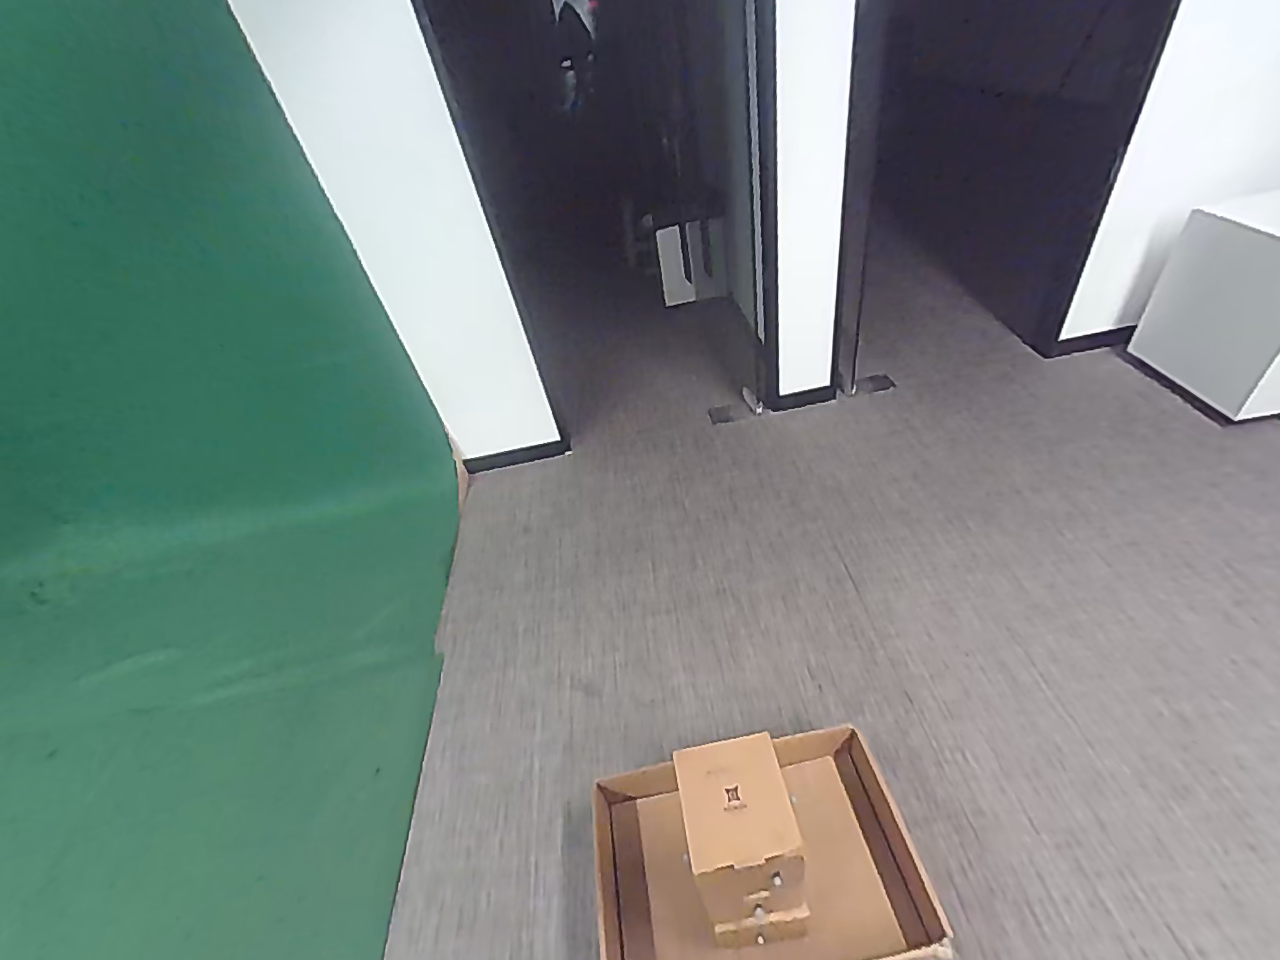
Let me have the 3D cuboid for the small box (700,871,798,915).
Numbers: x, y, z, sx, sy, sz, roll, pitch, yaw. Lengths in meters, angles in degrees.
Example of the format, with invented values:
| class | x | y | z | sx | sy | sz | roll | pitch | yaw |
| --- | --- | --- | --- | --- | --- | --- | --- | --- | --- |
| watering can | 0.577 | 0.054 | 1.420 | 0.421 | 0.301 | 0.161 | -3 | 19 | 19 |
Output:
| class | x | y | z | sx | sy | sz | roll | pitch | yaw |
| --- | --- | --- | --- | --- | --- | --- | --- | --- | --- |
| small box | 0.187 | 0.681 | 1.009 | 0.168 | 0.176 | 0.179 | -15 | 39 | 0 |

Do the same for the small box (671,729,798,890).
| class | x | y | z | sx | sy | sz | roll | pitch | yaw |
| --- | --- | --- | --- | --- | --- | --- | --- | --- | --- |
| small box | 0.154 | 0.547 | 0.891 | 0.168 | 0.176 | 0.179 | -12 | 39 | 1 |

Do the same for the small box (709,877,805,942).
| class | x | y | z | sx | sy | sz | roll | pitch | yaw |
| --- | --- | --- | --- | --- | --- | --- | --- | --- | --- |
| small box | 0.224 | 0.809 | 1.098 | 0.179 | 0.176 | 0.168 | -12 | 39 | 4 |
